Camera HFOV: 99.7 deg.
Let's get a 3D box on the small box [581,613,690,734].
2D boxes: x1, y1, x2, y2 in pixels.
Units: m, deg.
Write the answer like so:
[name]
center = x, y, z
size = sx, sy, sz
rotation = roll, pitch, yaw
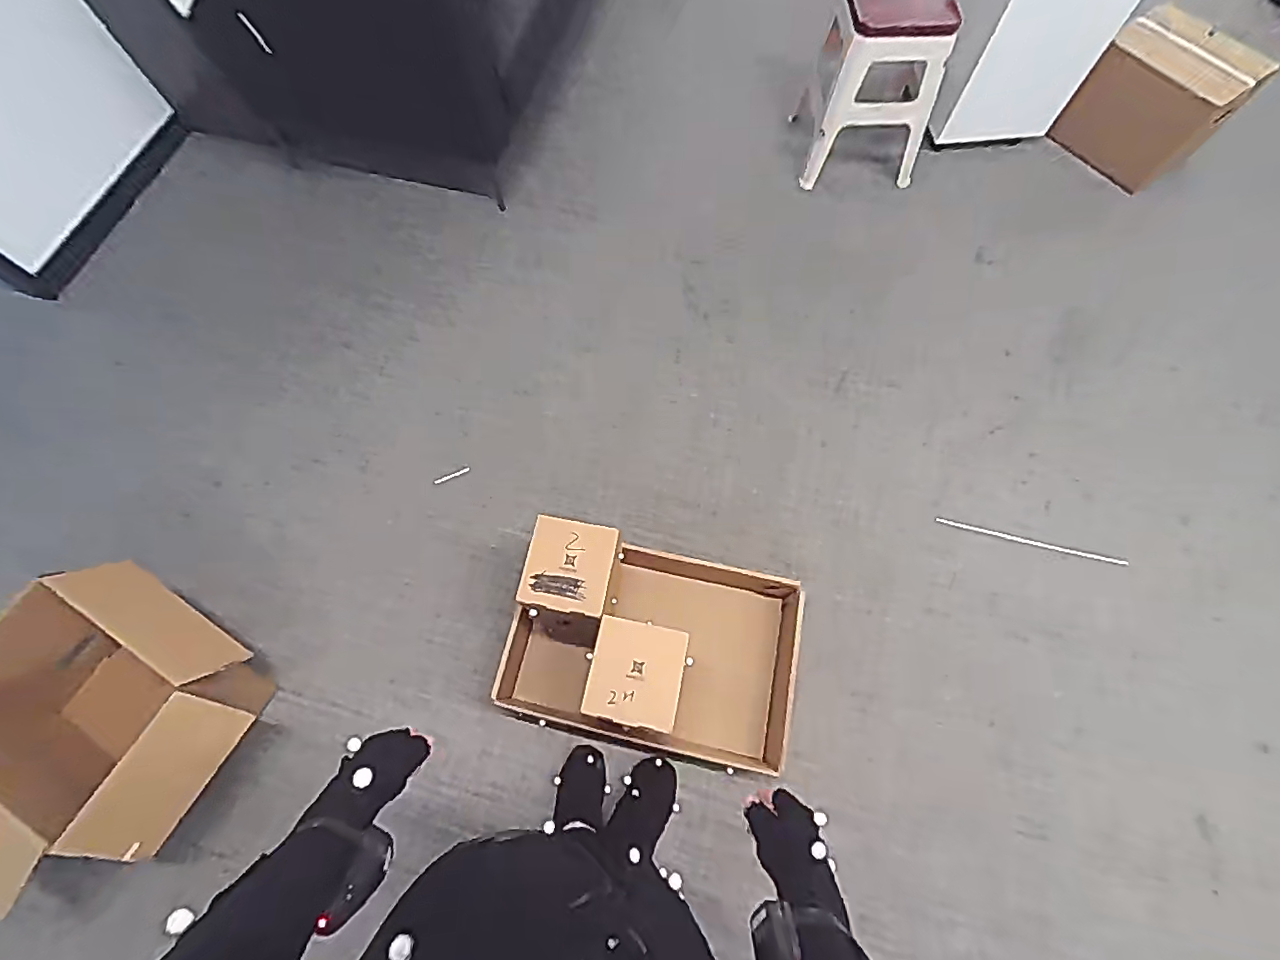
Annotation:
[small box]
center = -0.008, 0.369, 1.033
size = 0.168, 0.176, 0.179
rotation = 12, 69, 4
